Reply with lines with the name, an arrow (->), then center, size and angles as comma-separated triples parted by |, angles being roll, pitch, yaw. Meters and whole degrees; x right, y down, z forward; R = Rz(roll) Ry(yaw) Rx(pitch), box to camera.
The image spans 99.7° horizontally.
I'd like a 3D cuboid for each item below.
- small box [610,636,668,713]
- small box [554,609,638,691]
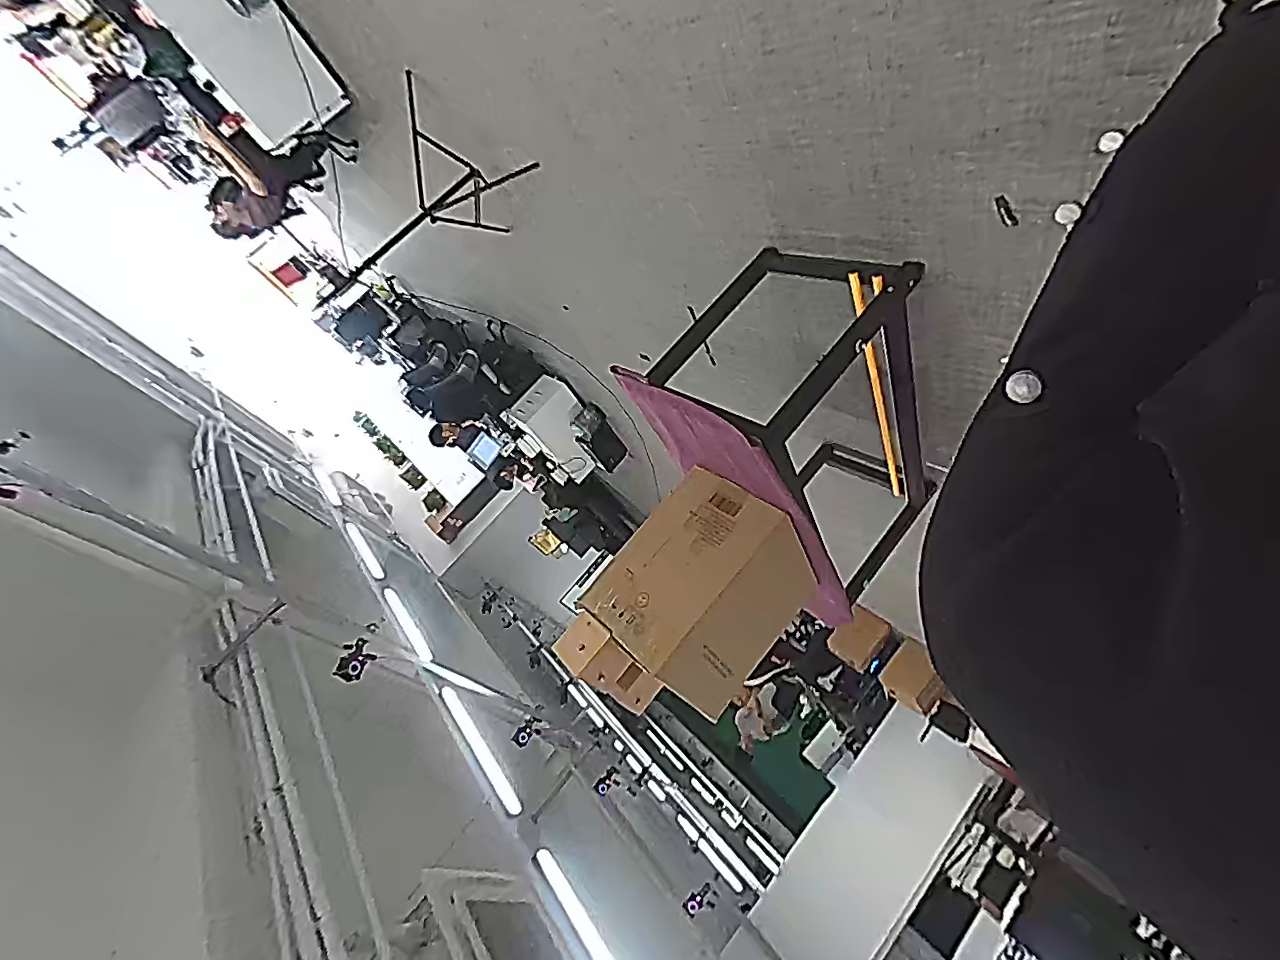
small box -> -0.028, 0.694, 1.940 | 0.168, 0.176, 0.179 | 29, 162, 43
small box -> -0.141, 0.553, 1.776 | 0.168, 0.176, 0.179 | 29, 166, 47
